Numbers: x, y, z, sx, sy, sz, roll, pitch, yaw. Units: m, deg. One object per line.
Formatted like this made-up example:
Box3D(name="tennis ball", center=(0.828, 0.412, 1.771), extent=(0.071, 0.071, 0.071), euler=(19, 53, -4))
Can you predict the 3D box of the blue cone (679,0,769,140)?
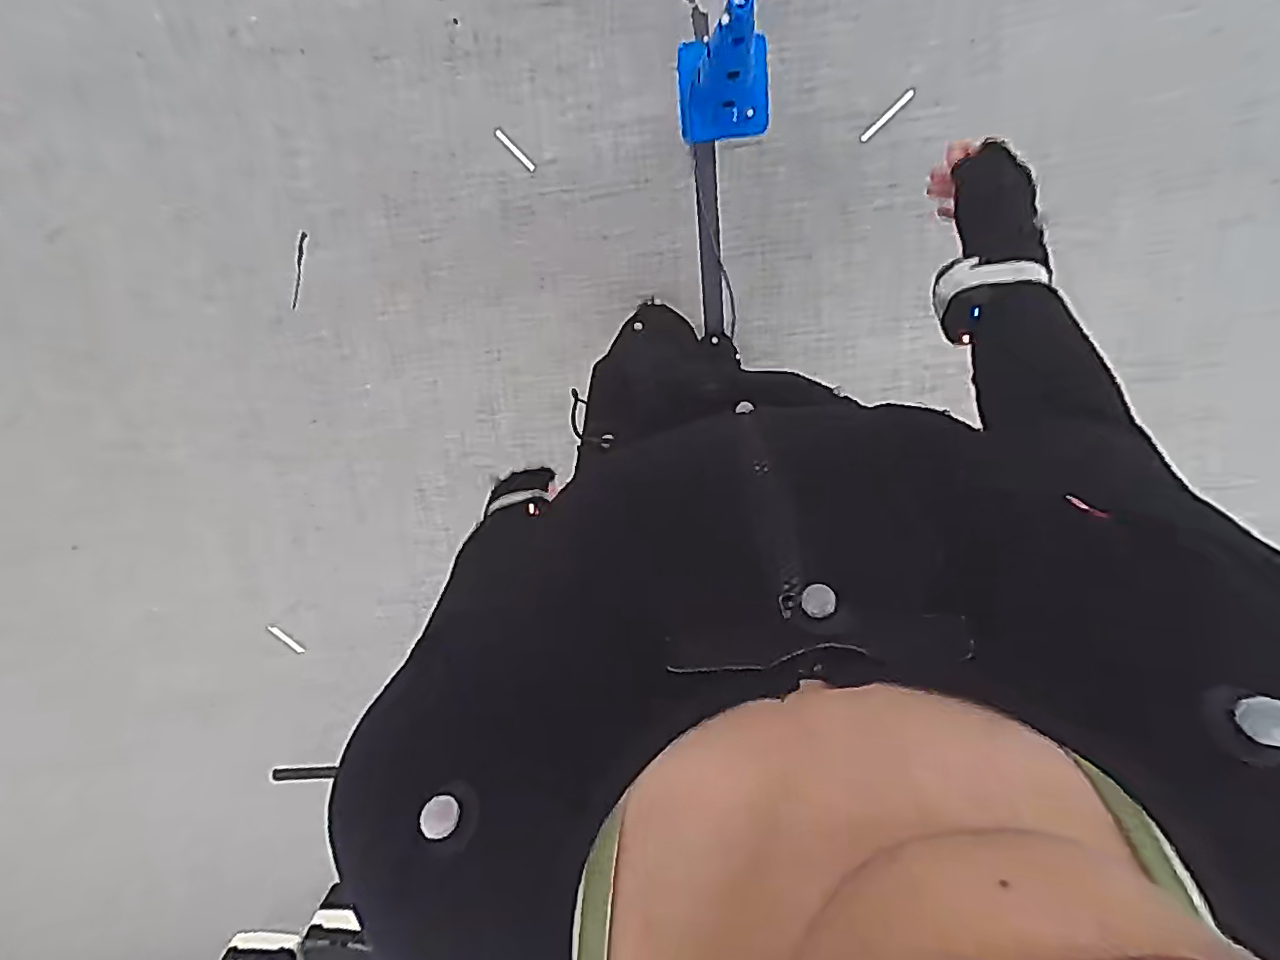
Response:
Box3D(name="blue cone", center=(0.178, -0.831, 1.044), extent=(0.193, 0.380, 0.192), euler=(-6, 105, 4))
